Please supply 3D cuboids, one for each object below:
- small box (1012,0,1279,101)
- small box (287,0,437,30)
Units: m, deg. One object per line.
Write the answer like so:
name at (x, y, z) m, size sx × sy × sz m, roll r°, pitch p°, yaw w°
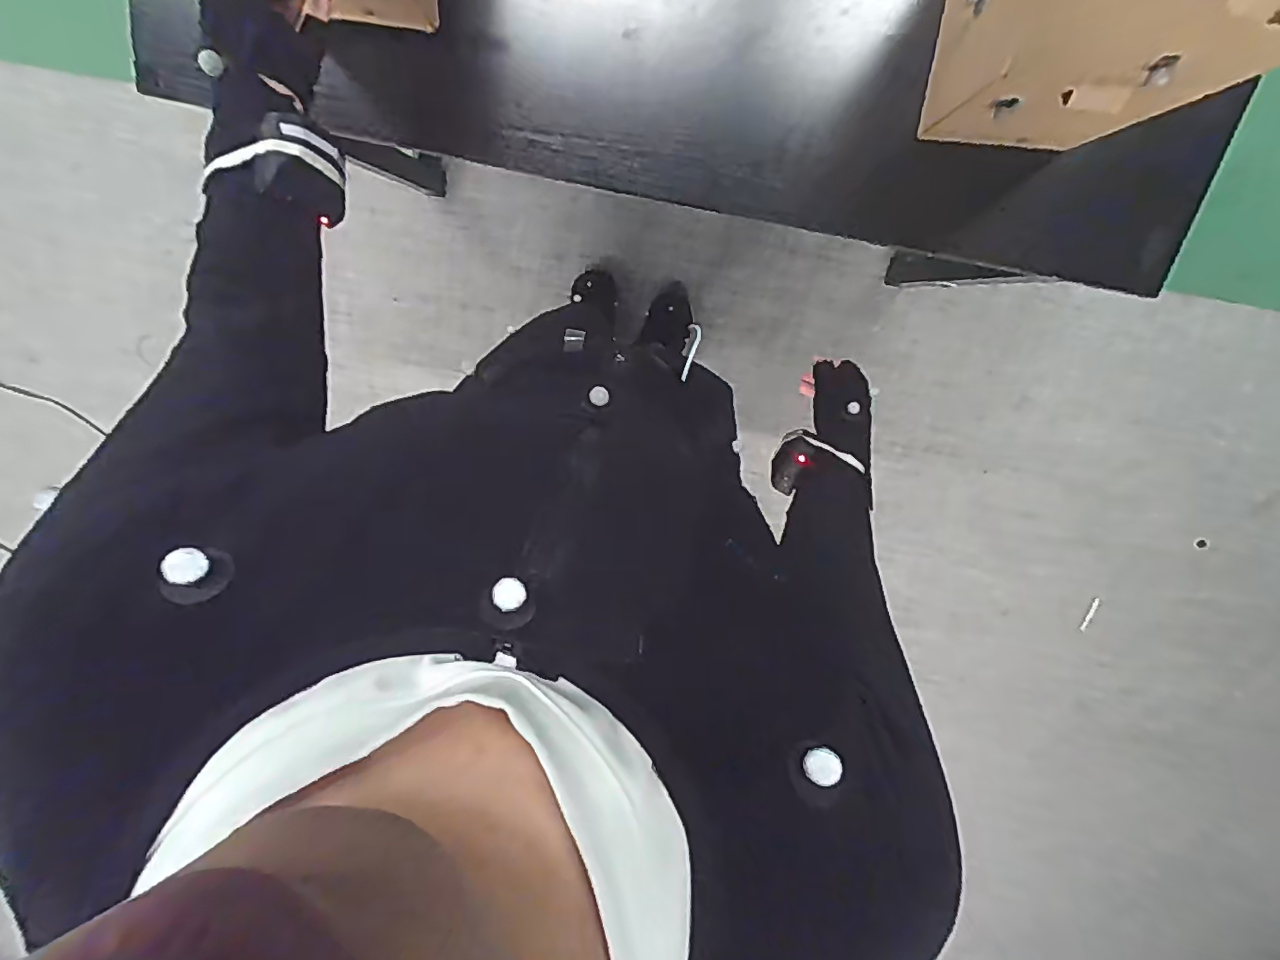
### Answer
small box at (0.377, -0.372, 0.337) m, size 0.168 × 0.176 × 0.179 m, roll 4°, pitch 109°, yaw 2°
small box at (-0.283, -0.535, 0.462) m, size 0.168 × 0.176 × 0.179 m, roll 6°, pitch 111°, yaw -2°
